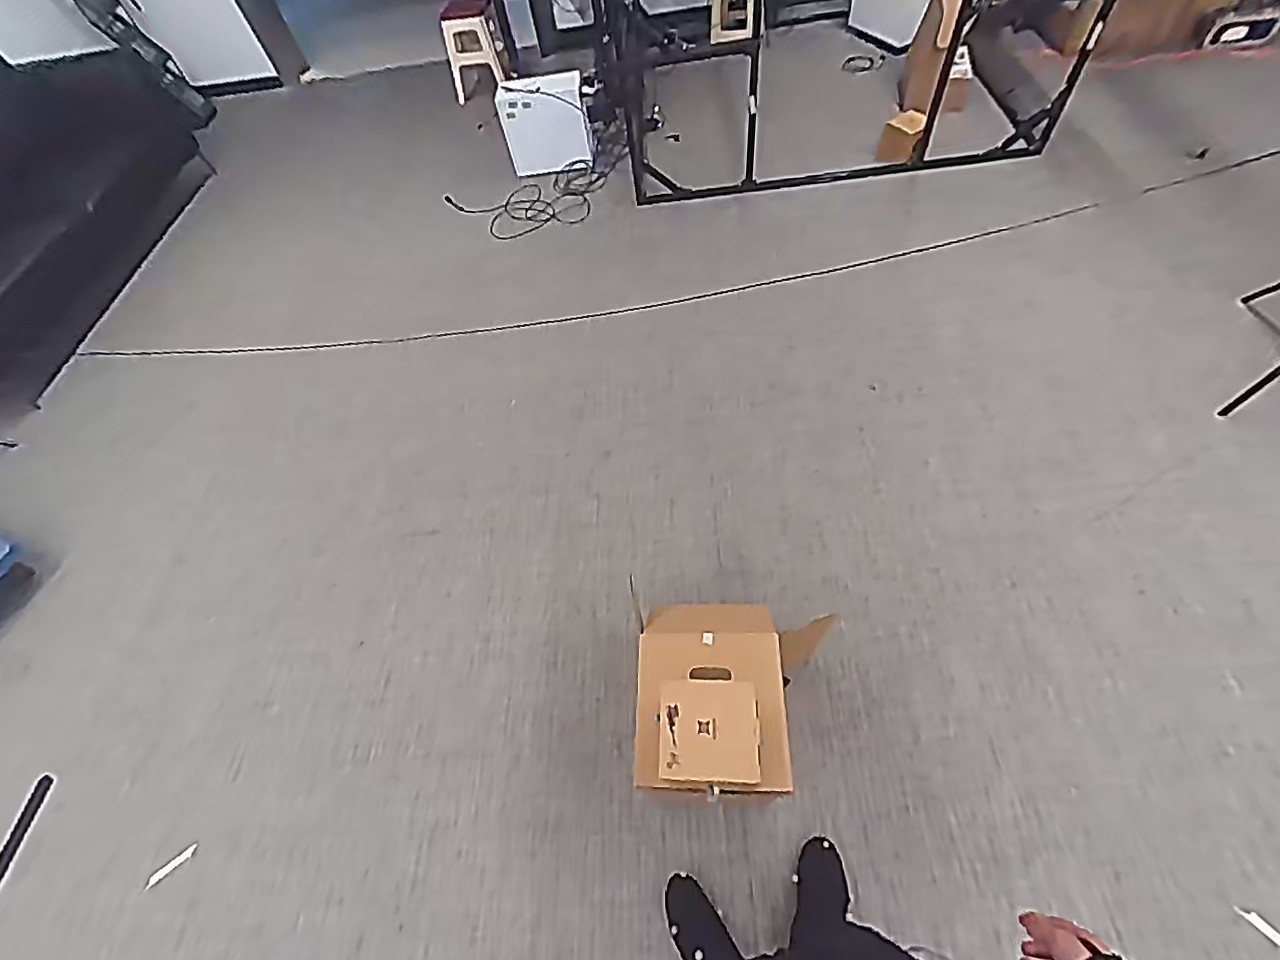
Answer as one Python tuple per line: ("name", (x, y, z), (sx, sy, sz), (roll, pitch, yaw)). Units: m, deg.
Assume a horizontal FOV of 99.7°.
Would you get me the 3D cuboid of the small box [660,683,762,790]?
("small box", (0.134, 0.492, 1.031), (0.179, 0.176, 0.168), (-1, 59, 7))
